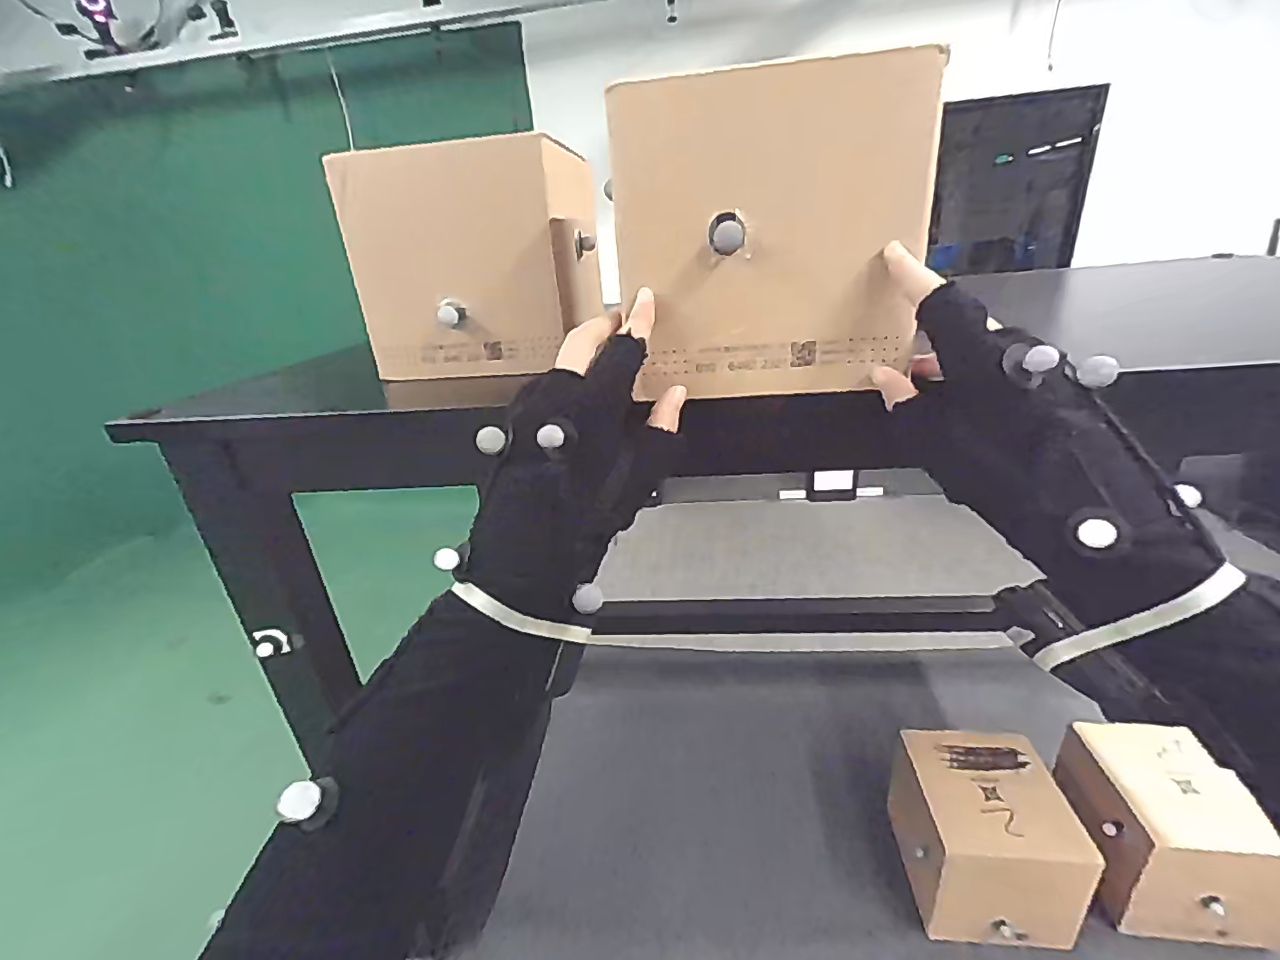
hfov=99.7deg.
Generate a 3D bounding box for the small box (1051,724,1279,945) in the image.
[{"bbox_3d":[0.674,0.447,0.694,0.168,0.176,0.179,-1,23,10],"label":"small box"}]

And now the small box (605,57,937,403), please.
[{"bbox_3d":[0.079,-0.153,0.372,0.168,0.176,0.179,-2,23,7],"label":"small box"}]

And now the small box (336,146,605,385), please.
[{"bbox_3d":[-0.129,-0.188,0.491,0.168,0.176,0.179,-2,24,8],"label":"small box"}]
